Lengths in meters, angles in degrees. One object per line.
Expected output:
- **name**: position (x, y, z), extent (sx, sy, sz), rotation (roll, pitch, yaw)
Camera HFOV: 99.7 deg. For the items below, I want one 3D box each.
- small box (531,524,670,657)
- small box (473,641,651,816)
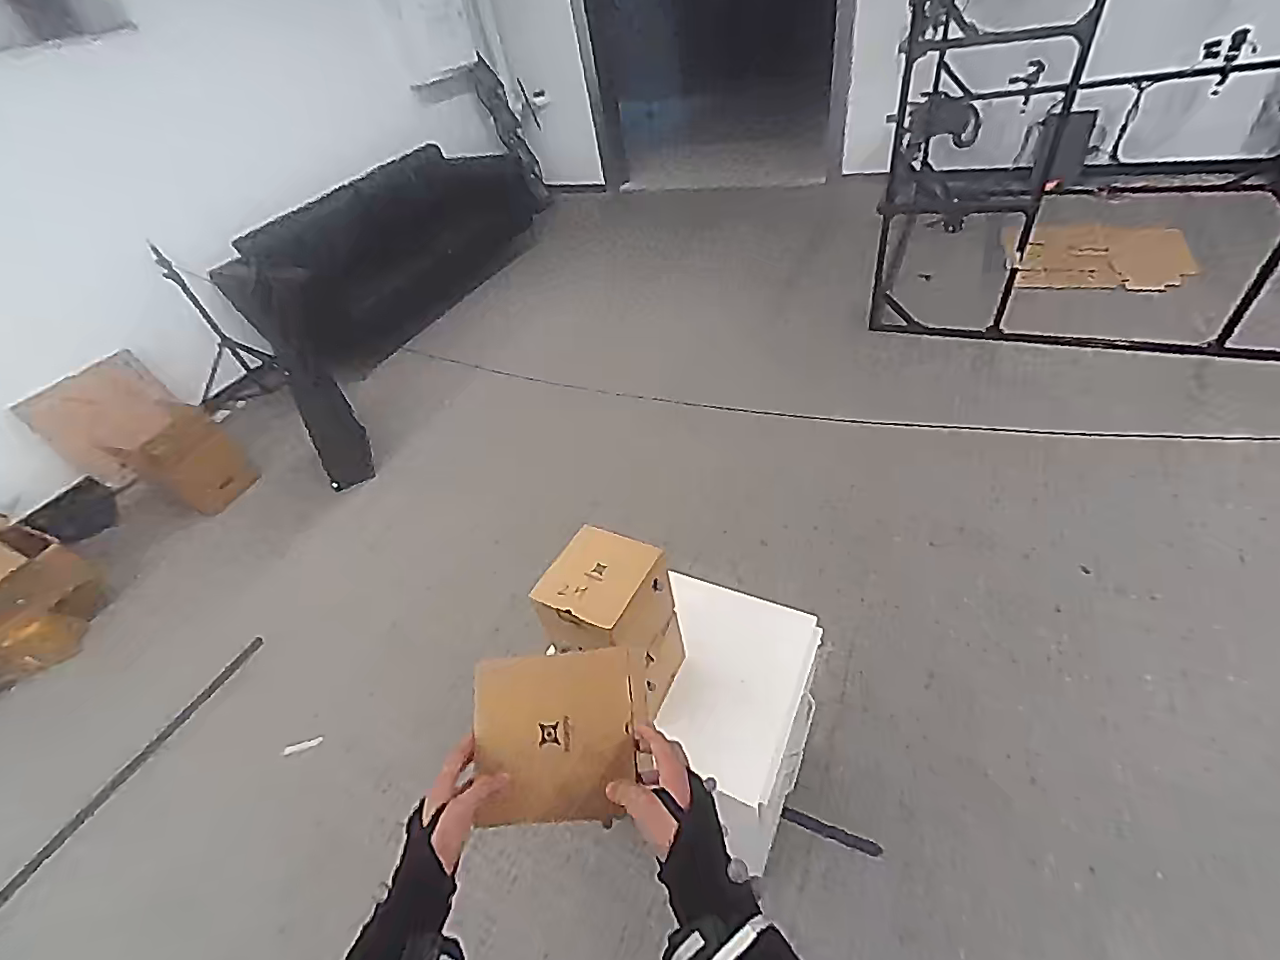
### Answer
- **small box**: position (-0.057, 0.212, 0.948), extent (0.168, 0.176, 0.179), rotation (15, 49, 28)
- **small box**: position (-0.084, 0.288, 0.650), extent (0.179, 0.176, 0.168), rotation (-5, 71, 3)
